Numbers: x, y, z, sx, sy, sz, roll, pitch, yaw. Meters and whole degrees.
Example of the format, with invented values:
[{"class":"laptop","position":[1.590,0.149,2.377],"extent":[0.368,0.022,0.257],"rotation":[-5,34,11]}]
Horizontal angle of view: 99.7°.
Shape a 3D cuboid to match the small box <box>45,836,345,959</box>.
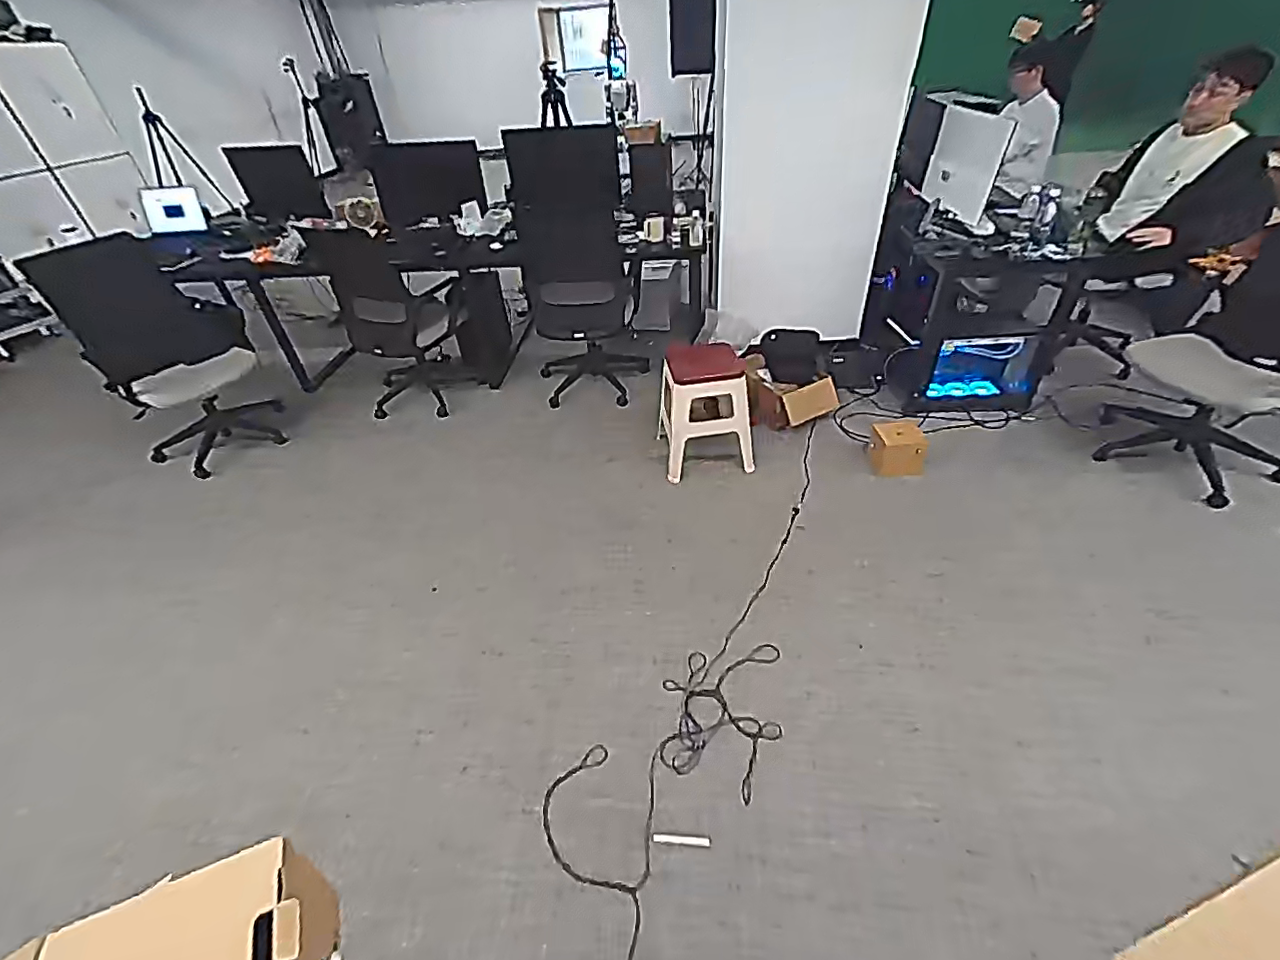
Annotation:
[{"class":"small box","position":[-0.376,0.463,0.470],"extent":[0.179,0.176,0.168],"rotation":[-15,42,-22]}]
